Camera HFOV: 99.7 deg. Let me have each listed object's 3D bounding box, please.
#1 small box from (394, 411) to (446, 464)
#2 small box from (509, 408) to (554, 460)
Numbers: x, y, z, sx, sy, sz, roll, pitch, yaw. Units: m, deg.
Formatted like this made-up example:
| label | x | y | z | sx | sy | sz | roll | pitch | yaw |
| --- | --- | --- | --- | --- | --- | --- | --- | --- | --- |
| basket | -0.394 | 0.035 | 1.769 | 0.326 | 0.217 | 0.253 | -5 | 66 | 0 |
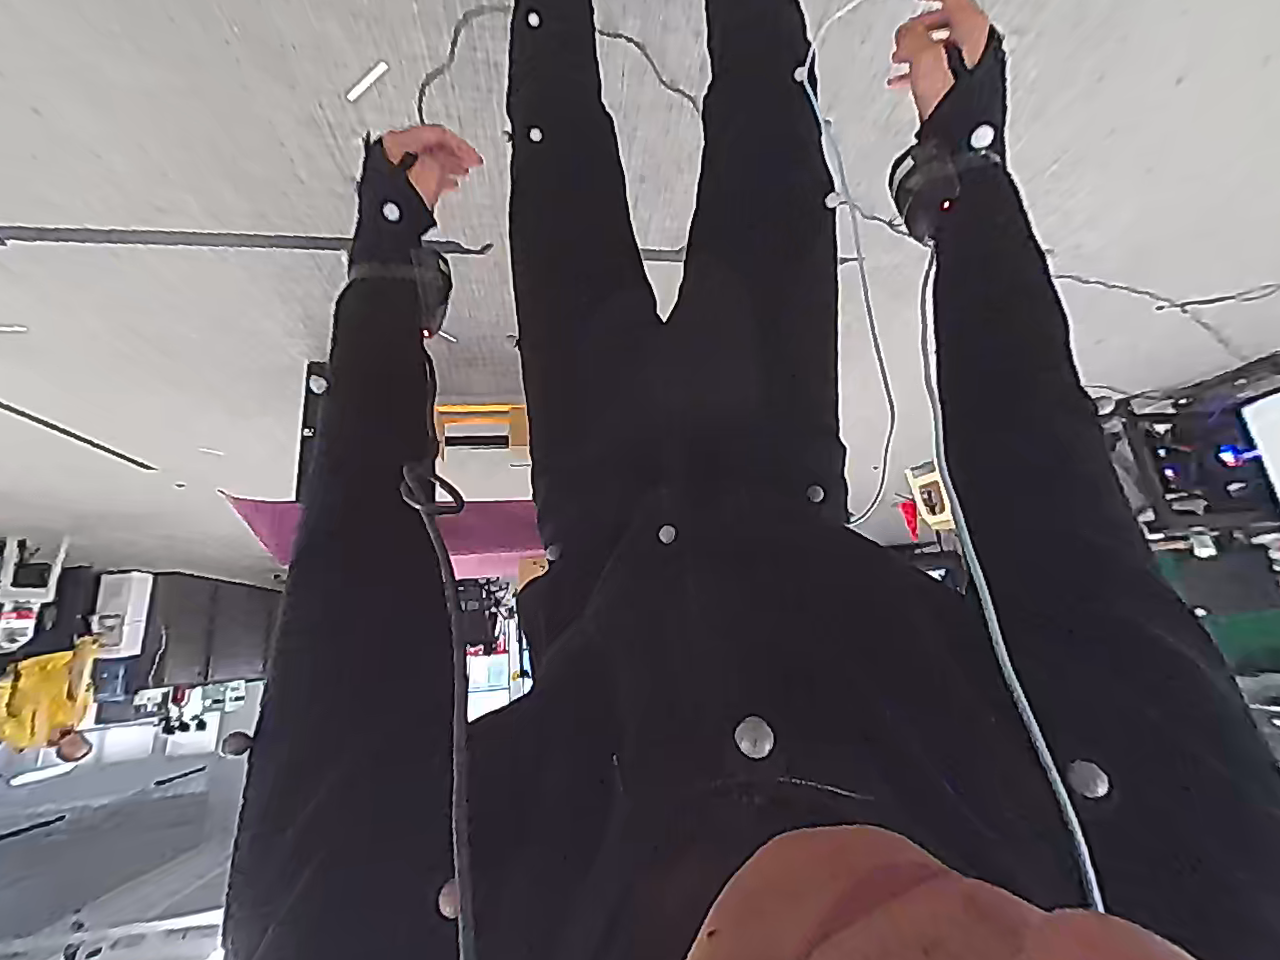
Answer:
| label | x | y | z | sx | sy | sz | roll | pitch | yaw |
| --- | --- | --- | --- | --- | --- | --- | --- | --- | --- |
| small box | -0.888 | -0.172 | 2.187 | 0.168 | 0.176 | 0.179 | -2 | 164 | -10 |
| small box | -0.448 | -0.191 | 2.252 | 0.179 | 0.176 | 0.168 | -2 | 164 | -7 |
